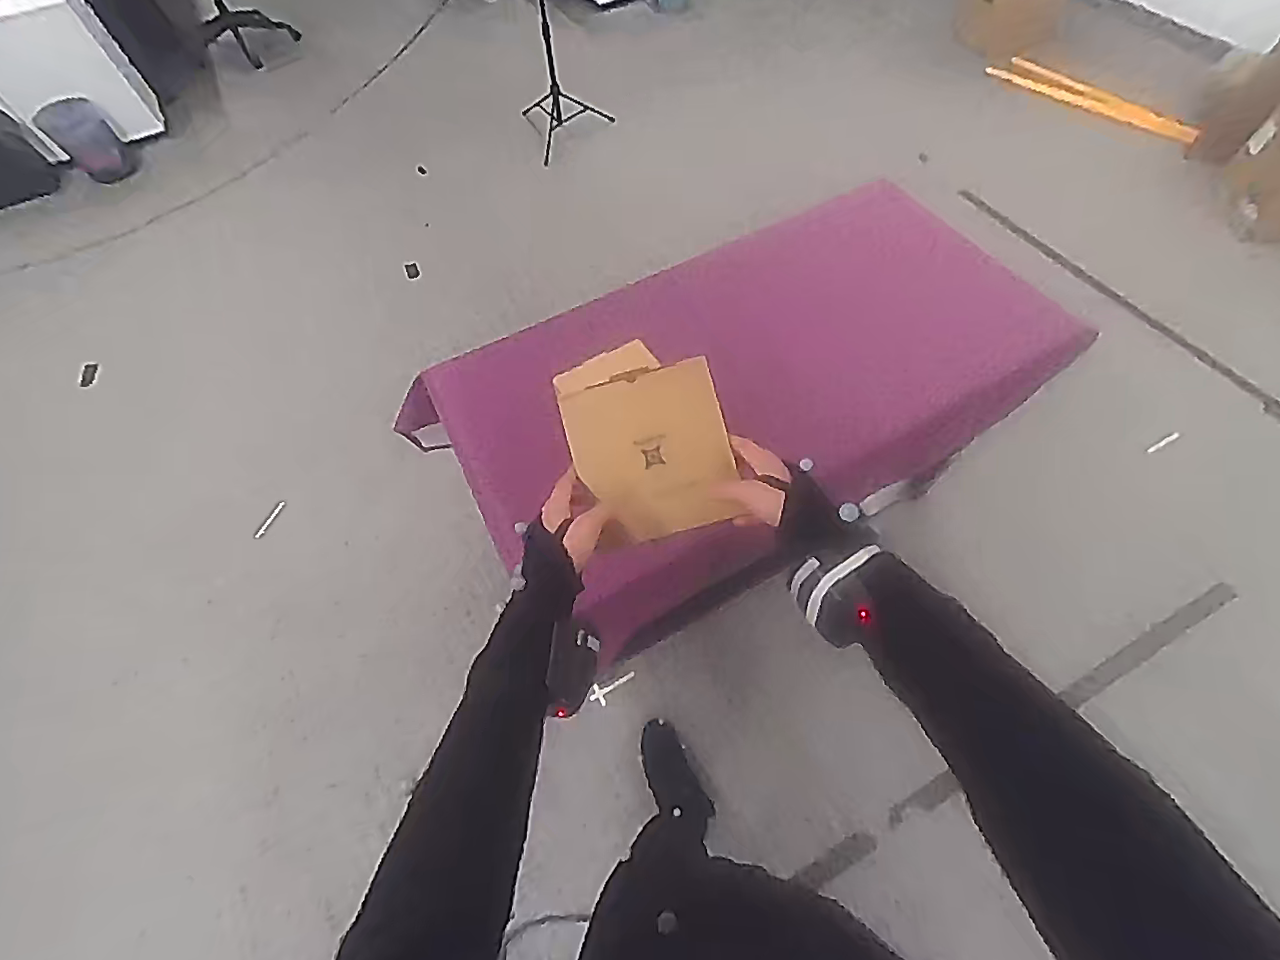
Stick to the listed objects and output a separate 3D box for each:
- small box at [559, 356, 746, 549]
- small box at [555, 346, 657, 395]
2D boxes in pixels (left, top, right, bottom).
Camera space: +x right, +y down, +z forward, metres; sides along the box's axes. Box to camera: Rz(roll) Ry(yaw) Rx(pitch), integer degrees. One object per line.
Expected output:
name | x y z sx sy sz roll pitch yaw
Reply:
small box | 0.011 -0.024 0.647 0.168 0.176 0.179 -15 87 0
small box | -0.024 -0.088 0.923 0.168 0.176 0.179 -28 63 -13
